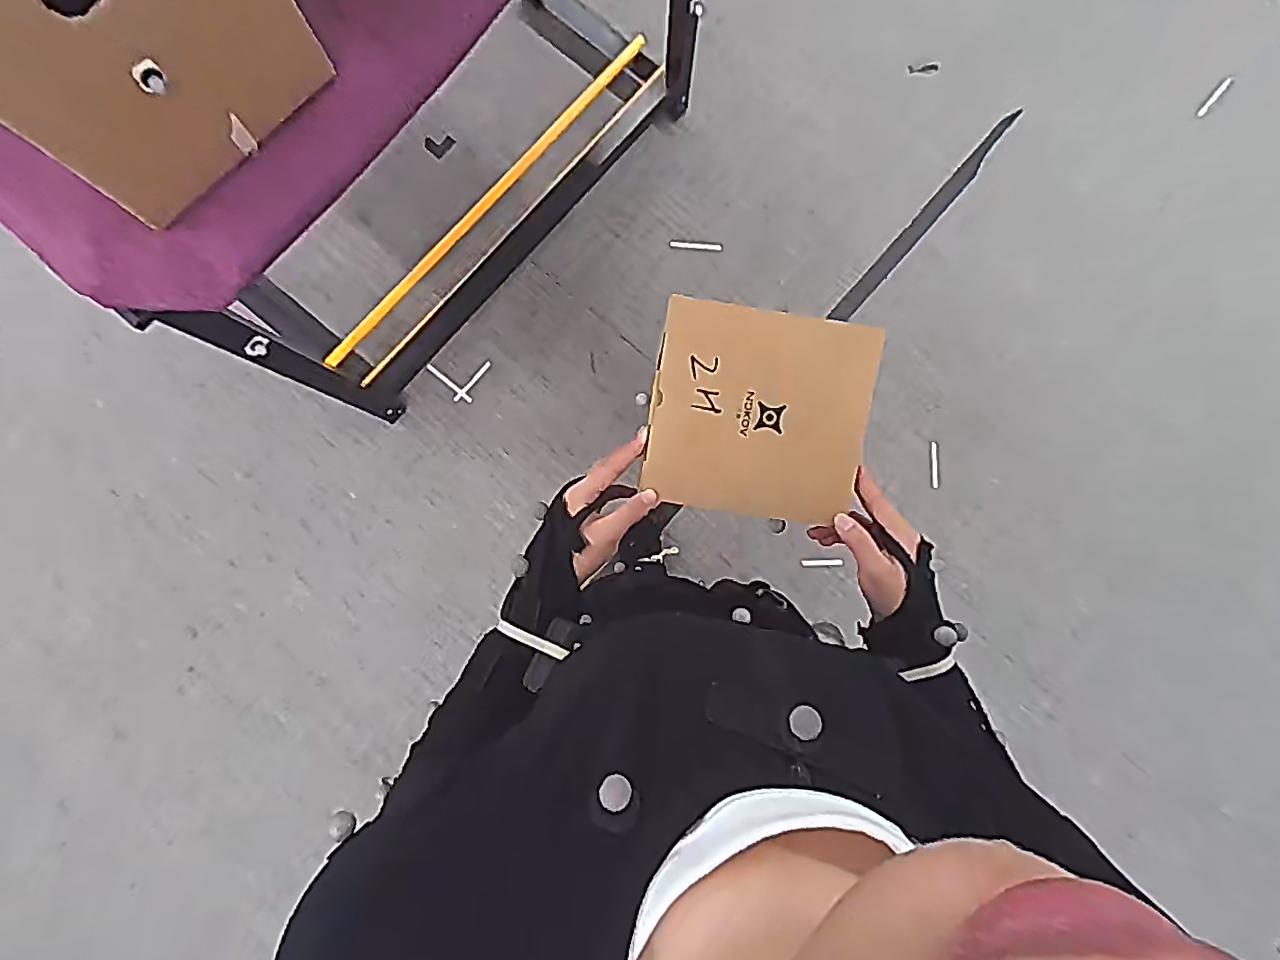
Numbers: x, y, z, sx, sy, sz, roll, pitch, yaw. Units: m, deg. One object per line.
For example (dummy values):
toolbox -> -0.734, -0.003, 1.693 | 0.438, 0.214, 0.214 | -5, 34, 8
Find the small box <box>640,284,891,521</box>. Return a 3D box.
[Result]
small box -> 0.098, -0.068, 0.506 | 0.179, 0.176, 0.168 | 9, 96, 0
